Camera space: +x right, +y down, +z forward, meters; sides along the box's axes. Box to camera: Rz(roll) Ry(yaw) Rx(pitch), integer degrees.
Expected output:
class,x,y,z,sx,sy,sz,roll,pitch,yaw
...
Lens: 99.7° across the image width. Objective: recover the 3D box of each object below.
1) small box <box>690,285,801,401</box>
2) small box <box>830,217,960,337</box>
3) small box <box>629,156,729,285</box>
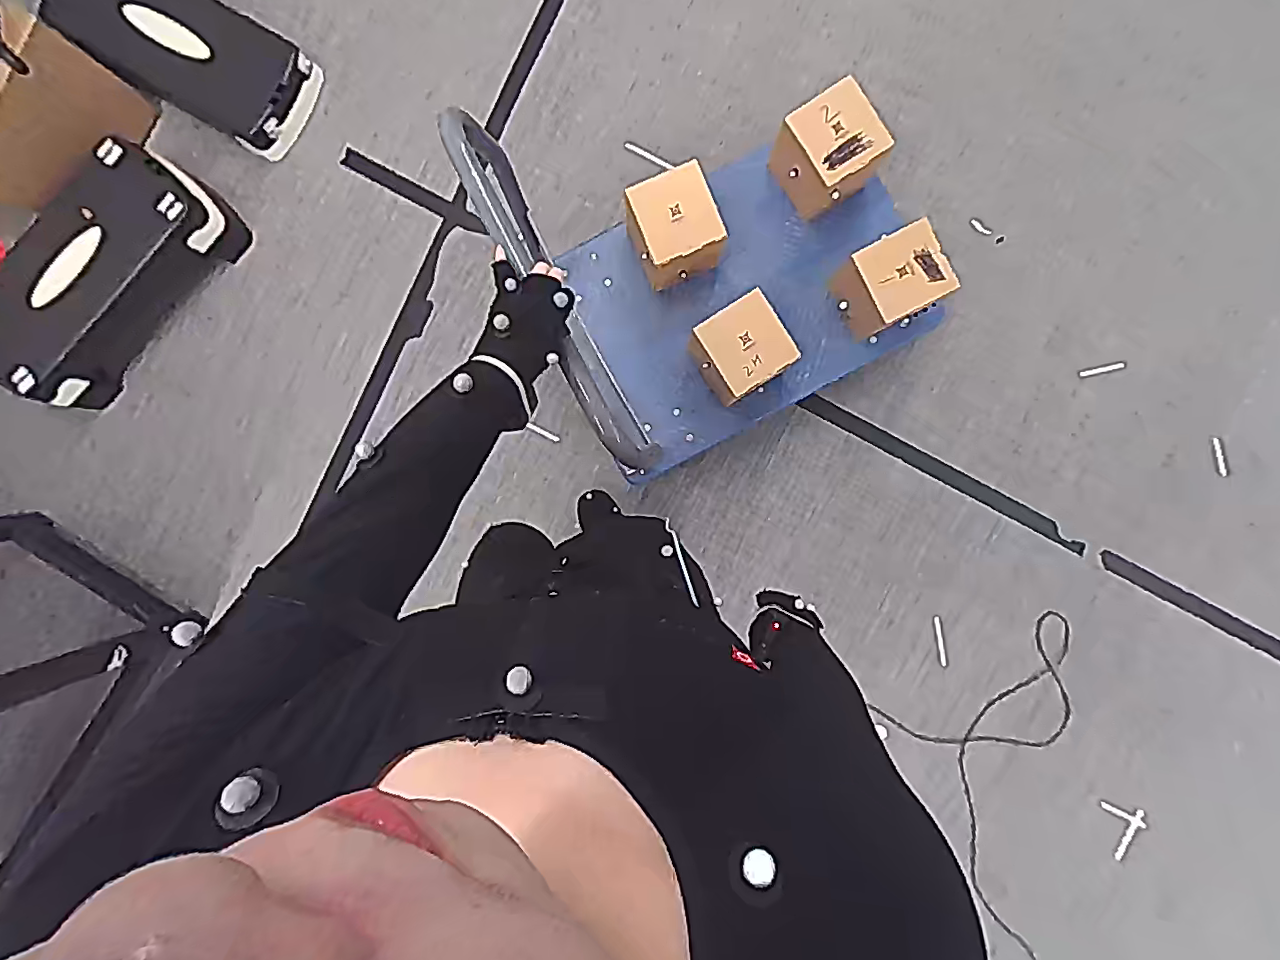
class,x,y,z,sx,sy,sz,roll,pitch,yaw
small box,0.225,-0.296,1.211,0.168,0.176,0.179,-32,91,1
small box,0.556,-0.441,1.203,0.179,0.176,0.168,-26,91,2
small box,0.079,-0.568,1.206,0.168,0.176,0.179,-23,93,1
